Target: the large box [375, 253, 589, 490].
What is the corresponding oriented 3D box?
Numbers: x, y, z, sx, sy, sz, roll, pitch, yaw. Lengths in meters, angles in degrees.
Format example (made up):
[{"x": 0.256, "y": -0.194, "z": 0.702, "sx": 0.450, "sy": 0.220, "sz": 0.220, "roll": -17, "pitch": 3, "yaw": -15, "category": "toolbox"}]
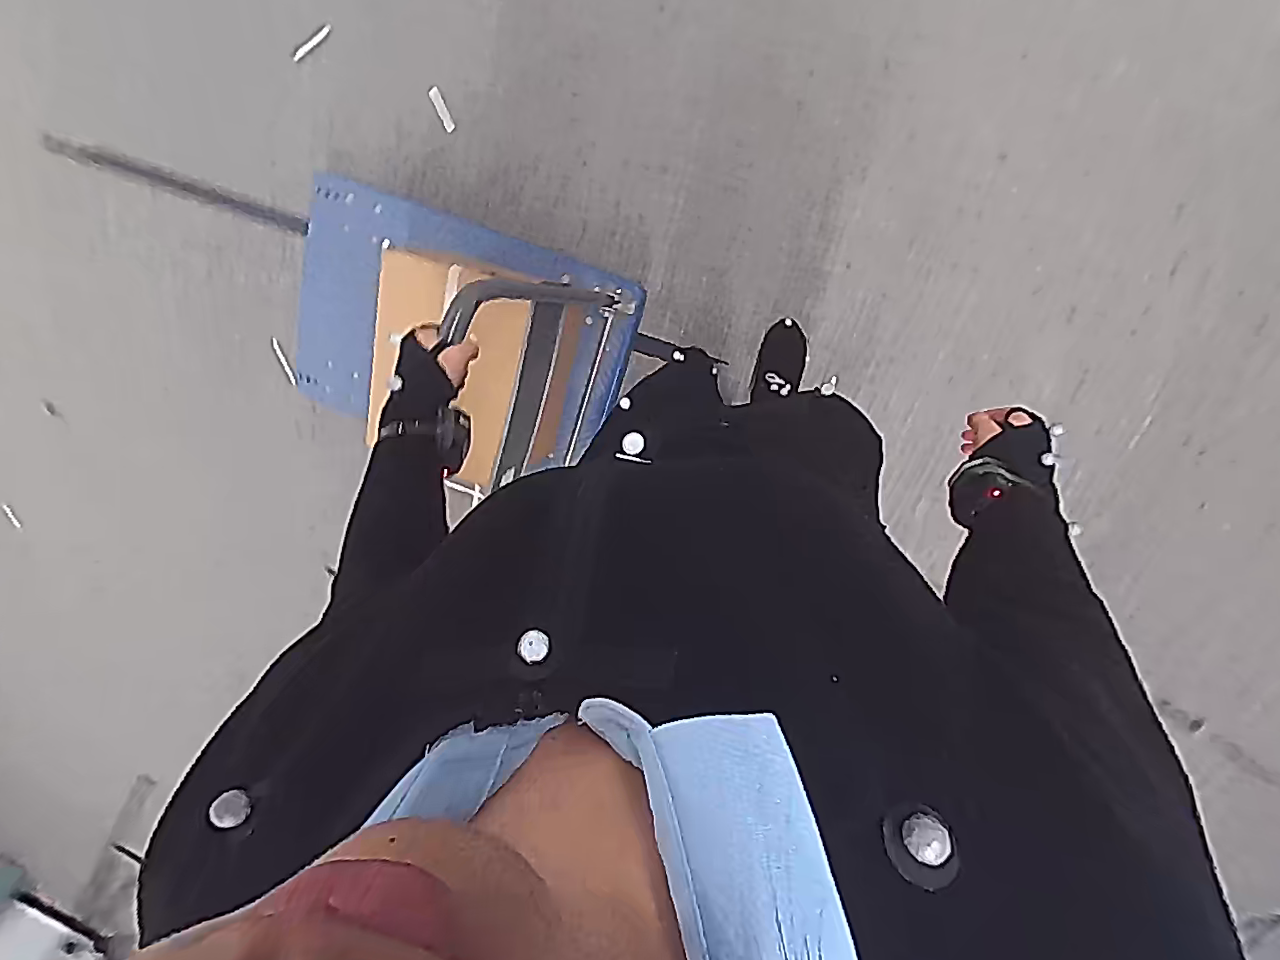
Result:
[{"x": -0.339, "y": -0.242, "z": 1.202, "sx": 0.320, "sy": 0.320, "sz": 0.408, "roll": 19, "pitch": 109, "yaw": 7, "category": "large box"}]
